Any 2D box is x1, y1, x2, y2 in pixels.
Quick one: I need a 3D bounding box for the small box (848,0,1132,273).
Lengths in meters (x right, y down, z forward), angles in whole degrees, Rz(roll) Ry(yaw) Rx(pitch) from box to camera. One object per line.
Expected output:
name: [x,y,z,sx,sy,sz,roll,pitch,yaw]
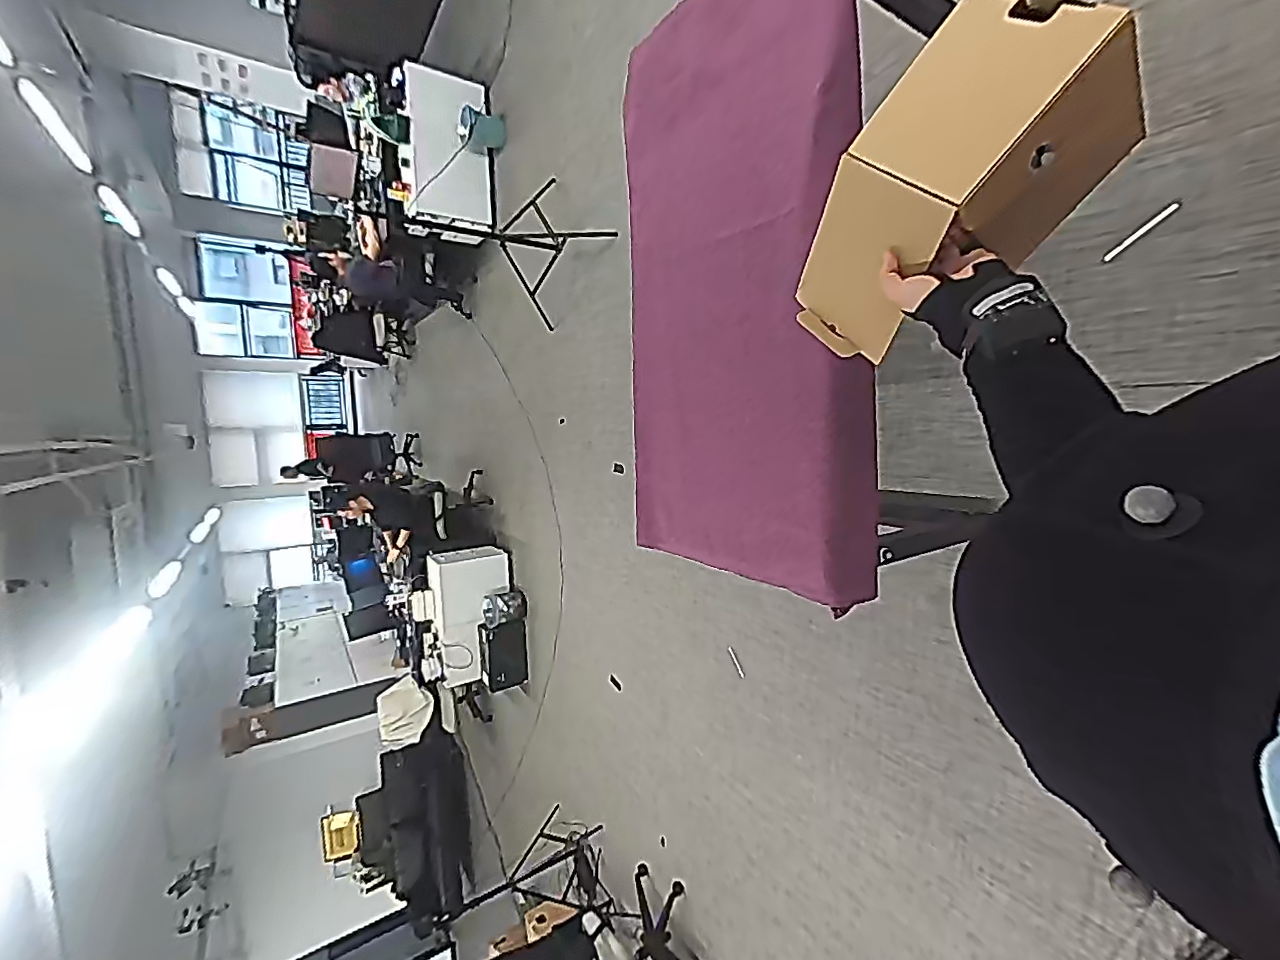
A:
small box: [0.367,-0.354,0.570,0.179,0.176,0.168,-50,49,24]
